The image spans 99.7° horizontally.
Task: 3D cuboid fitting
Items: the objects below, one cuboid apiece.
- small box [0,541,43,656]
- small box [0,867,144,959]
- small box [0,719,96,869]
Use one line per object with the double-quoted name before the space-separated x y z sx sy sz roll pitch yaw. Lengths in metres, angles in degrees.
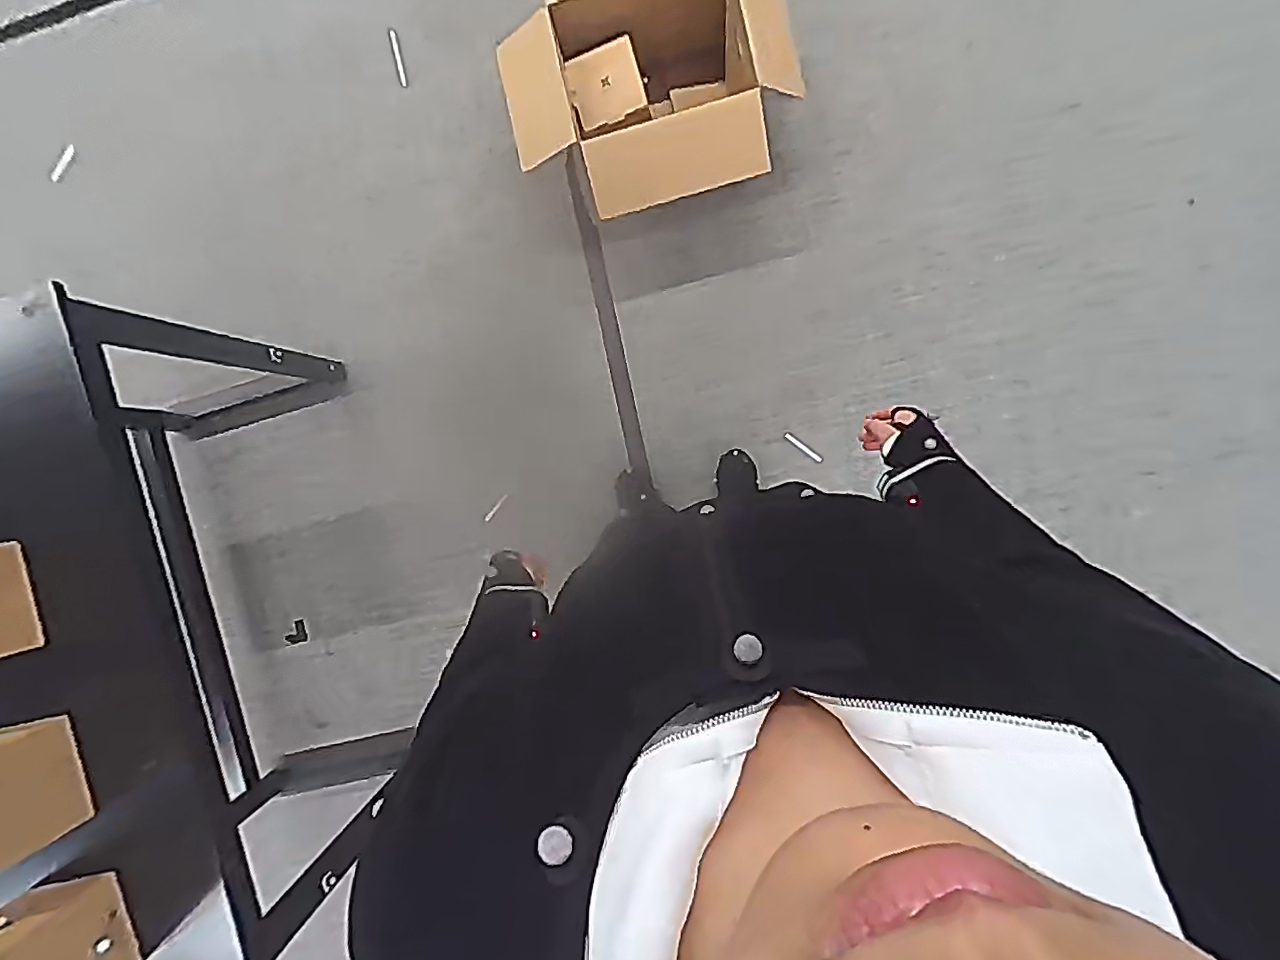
"small box" -1.076 0.204 0.815 0.168 0.176 0.179 -12 93 6
"small box" -0.936 0.746 0.833 0.179 0.176 0.168 -16 92 5
"small box" -1.004 0.488 0.823 0.168 0.176 0.179 -14 92 7
